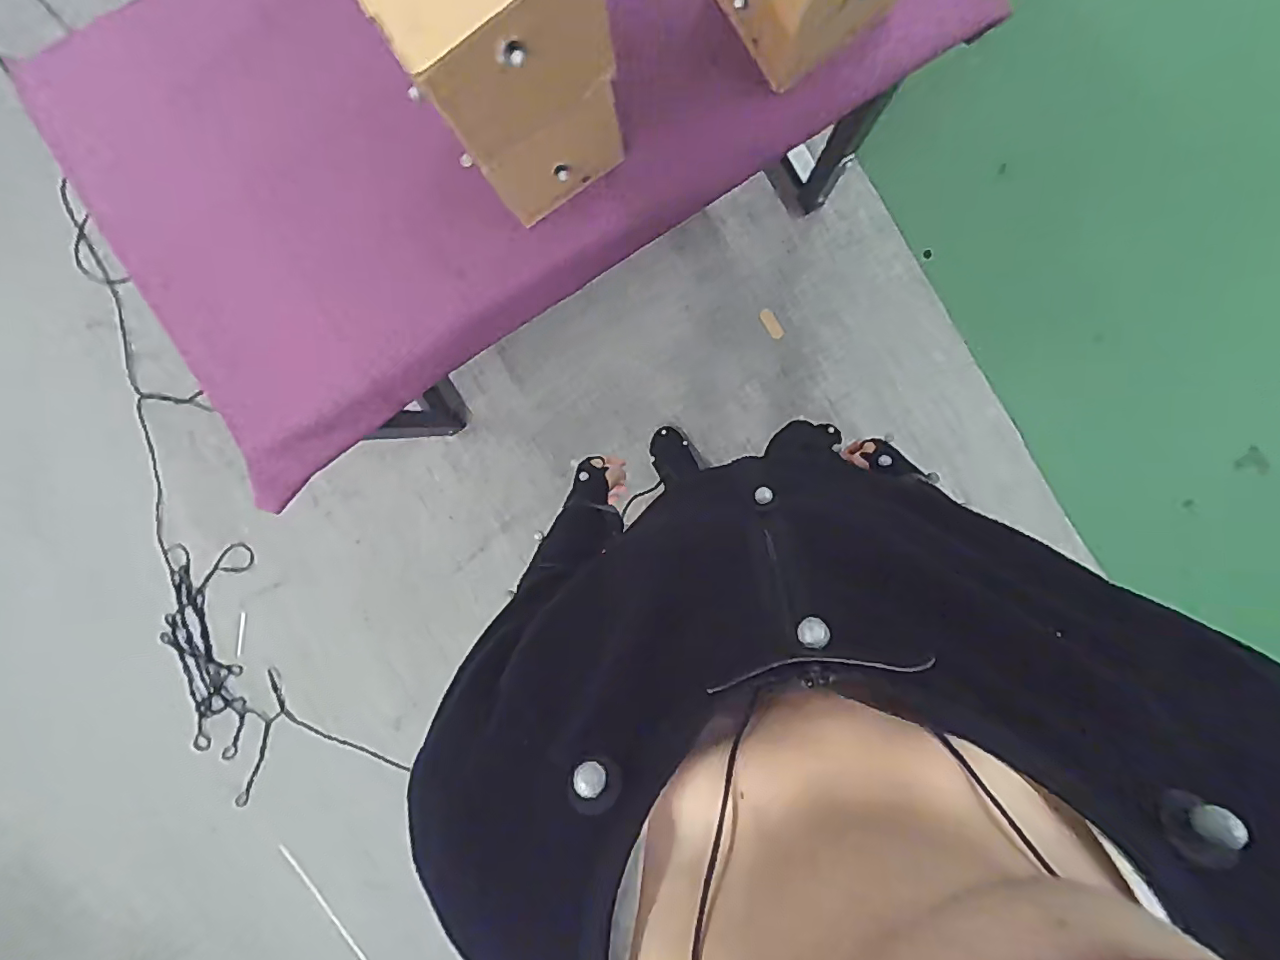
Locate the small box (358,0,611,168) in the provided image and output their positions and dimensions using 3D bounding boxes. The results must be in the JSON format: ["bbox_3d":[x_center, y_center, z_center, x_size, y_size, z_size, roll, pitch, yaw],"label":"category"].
[{"bbox_3d":[-0.147,-0.441,0.507,0.179,0.176,0.168,-32,92,8],"label":"small box"}]

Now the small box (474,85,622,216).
[{"bbox_3d":[-0.138,-0.459,0.669,0.168,0.176,0.179,-32,91,7],"label":"small box"}]

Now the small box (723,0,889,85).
[{"bbox_3d":[0.203,-0.619,0.620,0.179,0.176,0.168,-33,93,9],"label":"small box"}]
